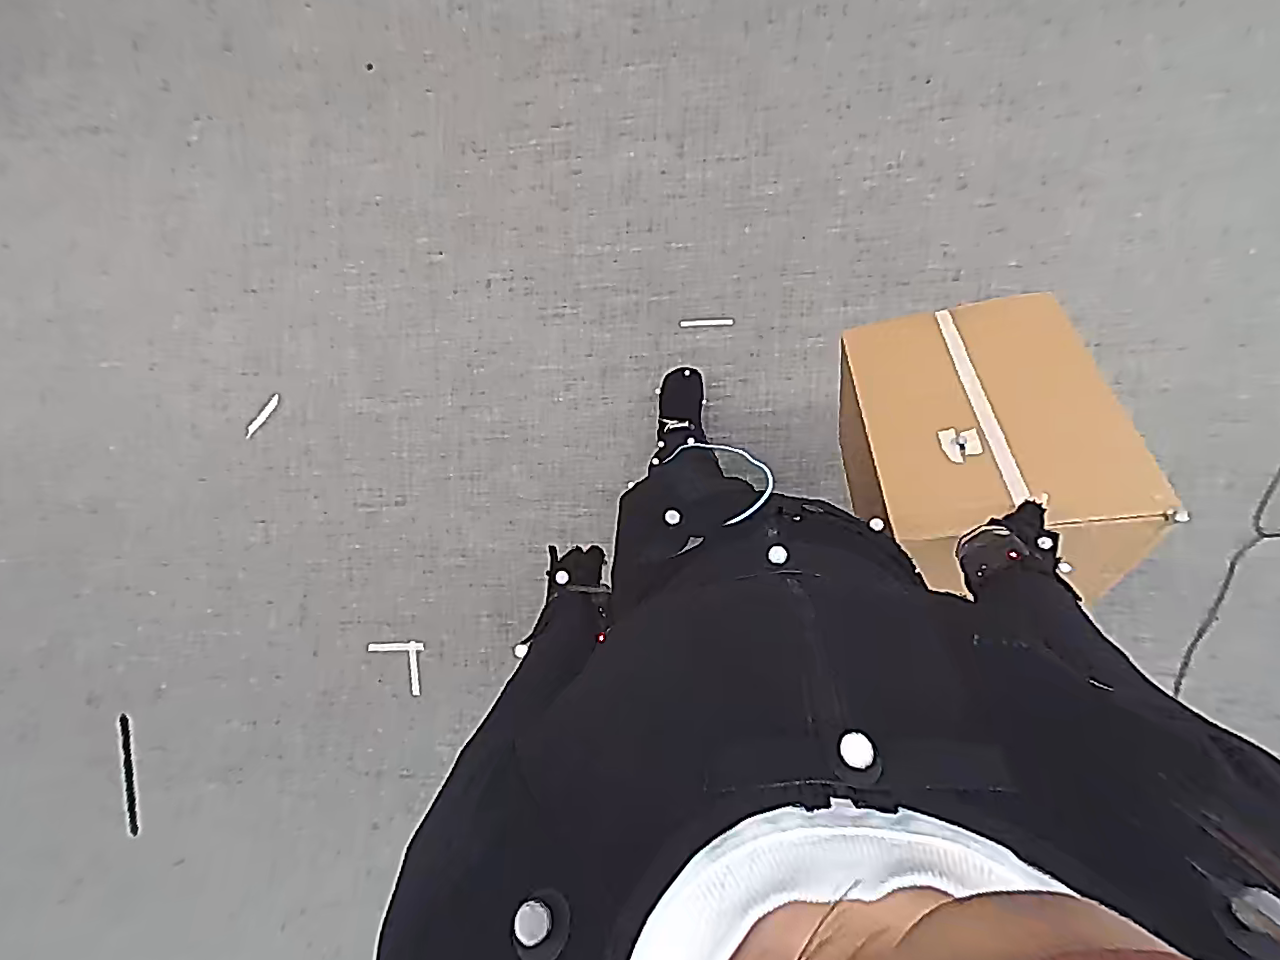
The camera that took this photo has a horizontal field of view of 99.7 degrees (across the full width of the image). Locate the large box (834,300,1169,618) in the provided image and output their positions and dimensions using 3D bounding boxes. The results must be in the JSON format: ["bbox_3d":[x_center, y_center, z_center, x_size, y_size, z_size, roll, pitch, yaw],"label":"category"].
[{"bbox_3d":[0.517,-0.021,0.894,0.320,0.320,0.408,-9,56,15],"label":"large box"}]
